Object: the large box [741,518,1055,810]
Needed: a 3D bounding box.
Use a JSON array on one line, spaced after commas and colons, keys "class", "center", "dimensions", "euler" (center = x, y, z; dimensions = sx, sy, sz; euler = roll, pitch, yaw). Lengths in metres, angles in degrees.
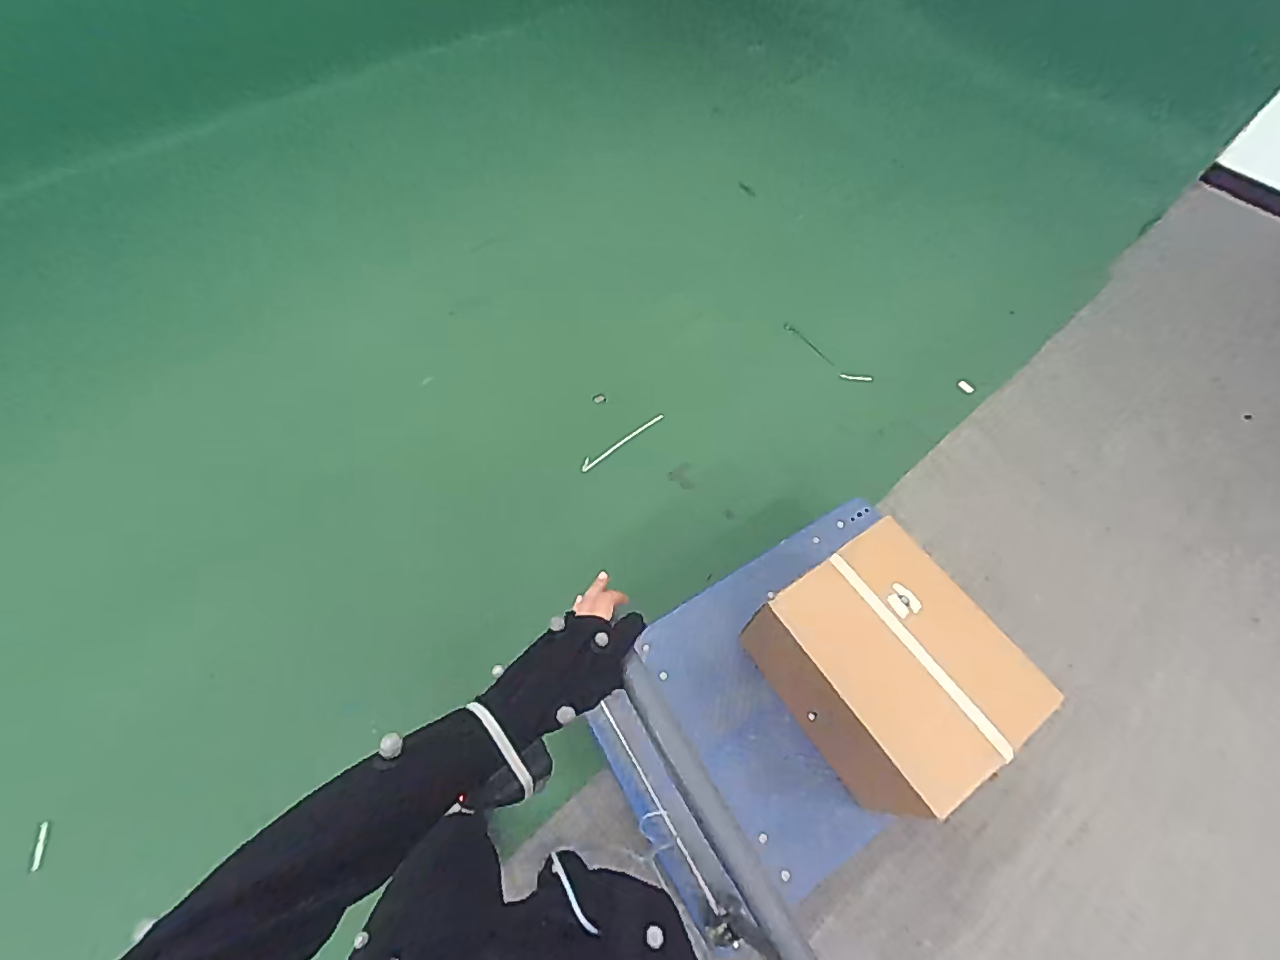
[{"class": "large box", "center": [0.461, 0.360, 1.069], "dimensions": [0.320, 0.320, 0.408], "euler": [-30, 65, -17]}]
